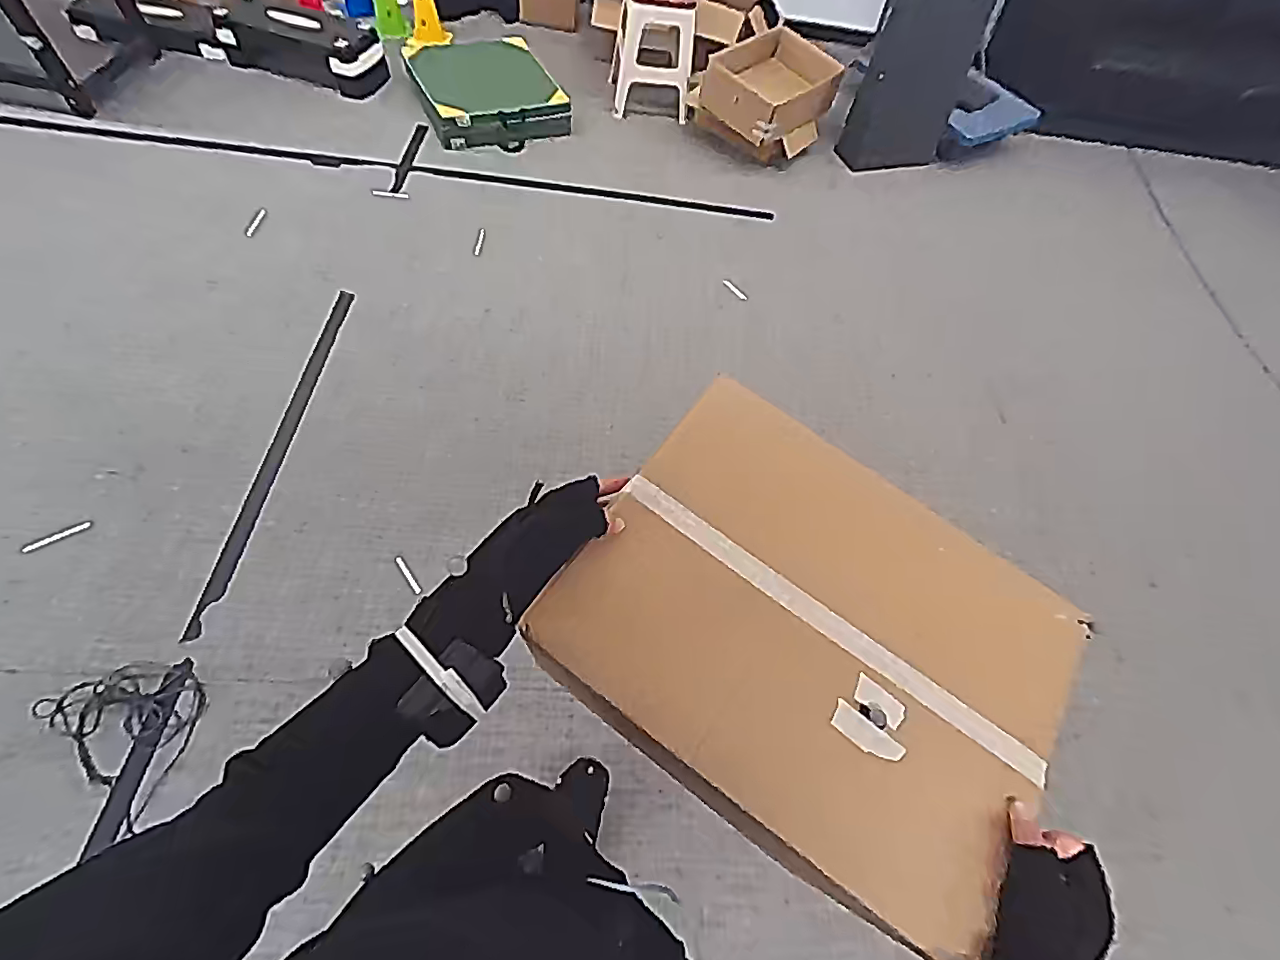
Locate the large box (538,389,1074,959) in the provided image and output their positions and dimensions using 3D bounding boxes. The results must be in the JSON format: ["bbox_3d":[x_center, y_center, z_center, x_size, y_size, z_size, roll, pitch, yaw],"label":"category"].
[{"bbox_3d":[0.138,0.181,0.605,0.408,0.320,0.320,36,68,8],"label":"large box"}]
